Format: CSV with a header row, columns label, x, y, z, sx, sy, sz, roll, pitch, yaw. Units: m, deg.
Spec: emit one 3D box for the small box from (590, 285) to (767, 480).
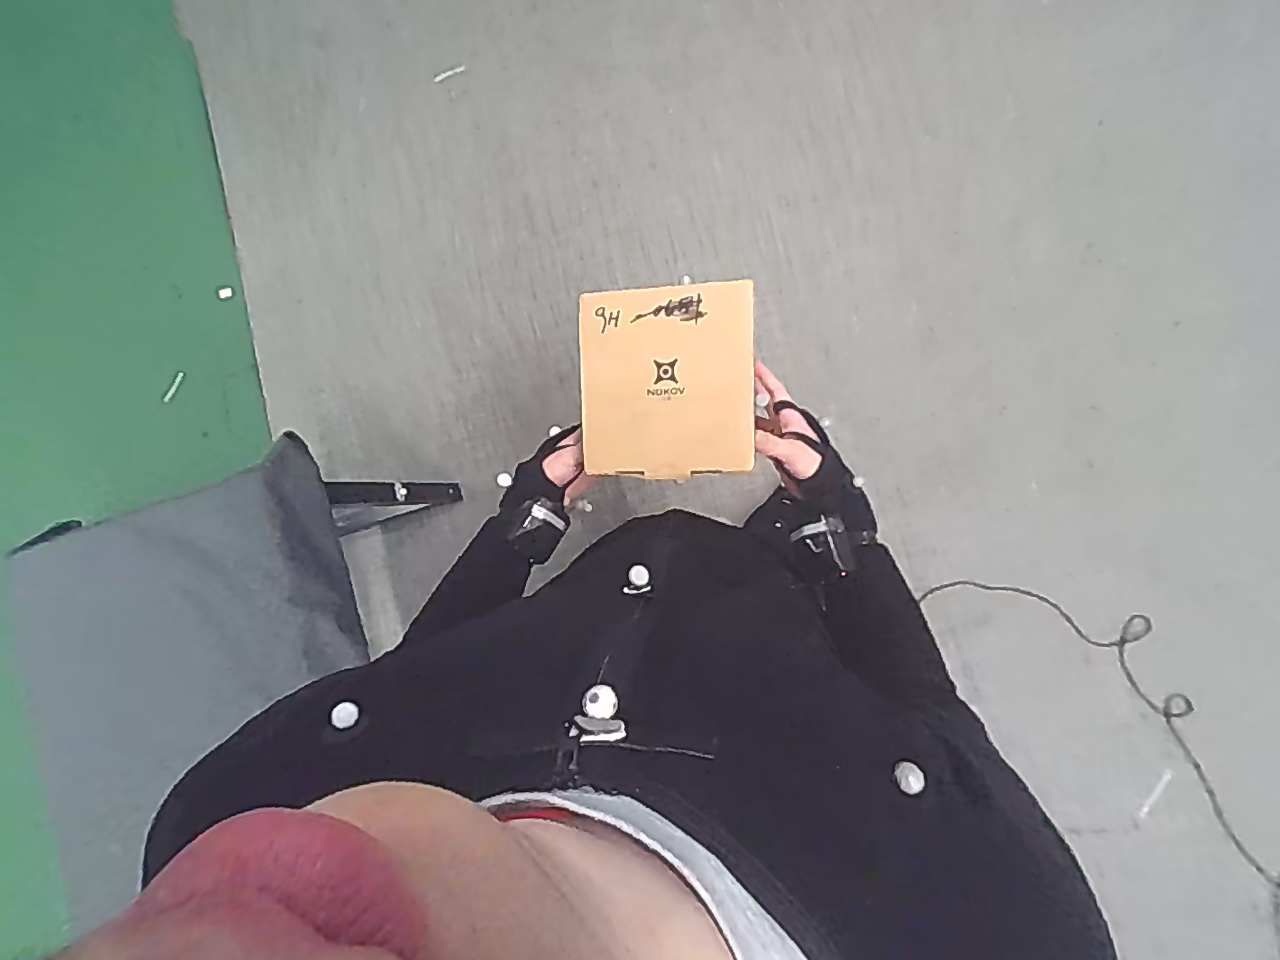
label,x,y,z,sx,sy,sz,roll,pitch,yaw
small box,0.050,-0.094,0.579,0.168,0.176,0.179,0,94,11
